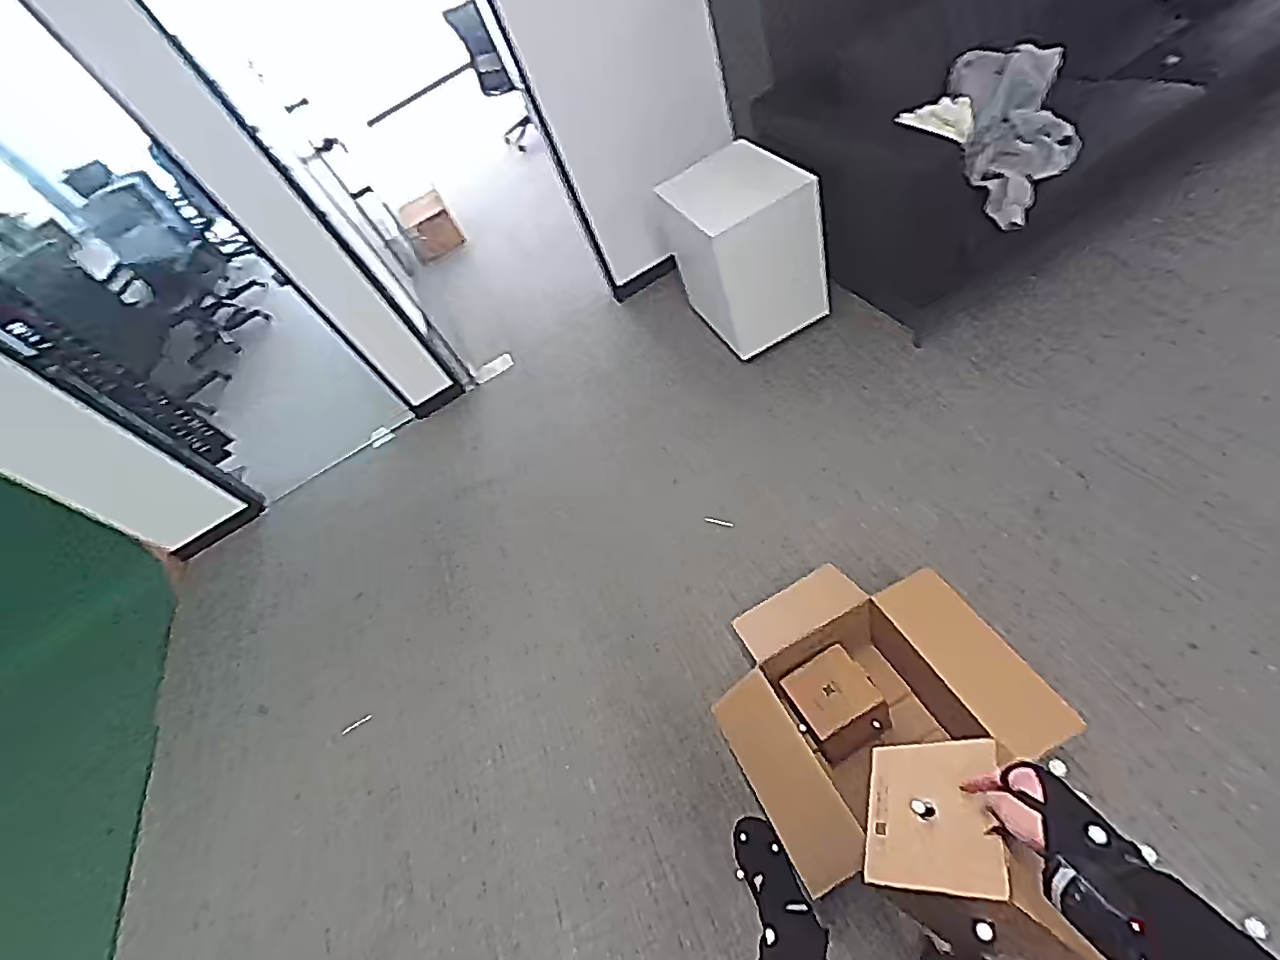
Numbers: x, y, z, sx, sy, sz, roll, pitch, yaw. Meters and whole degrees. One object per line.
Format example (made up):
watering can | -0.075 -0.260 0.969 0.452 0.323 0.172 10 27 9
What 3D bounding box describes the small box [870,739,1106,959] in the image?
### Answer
small box | 0.400 0.444 0.652 0.176 0.179 0.168 -36 19 43
